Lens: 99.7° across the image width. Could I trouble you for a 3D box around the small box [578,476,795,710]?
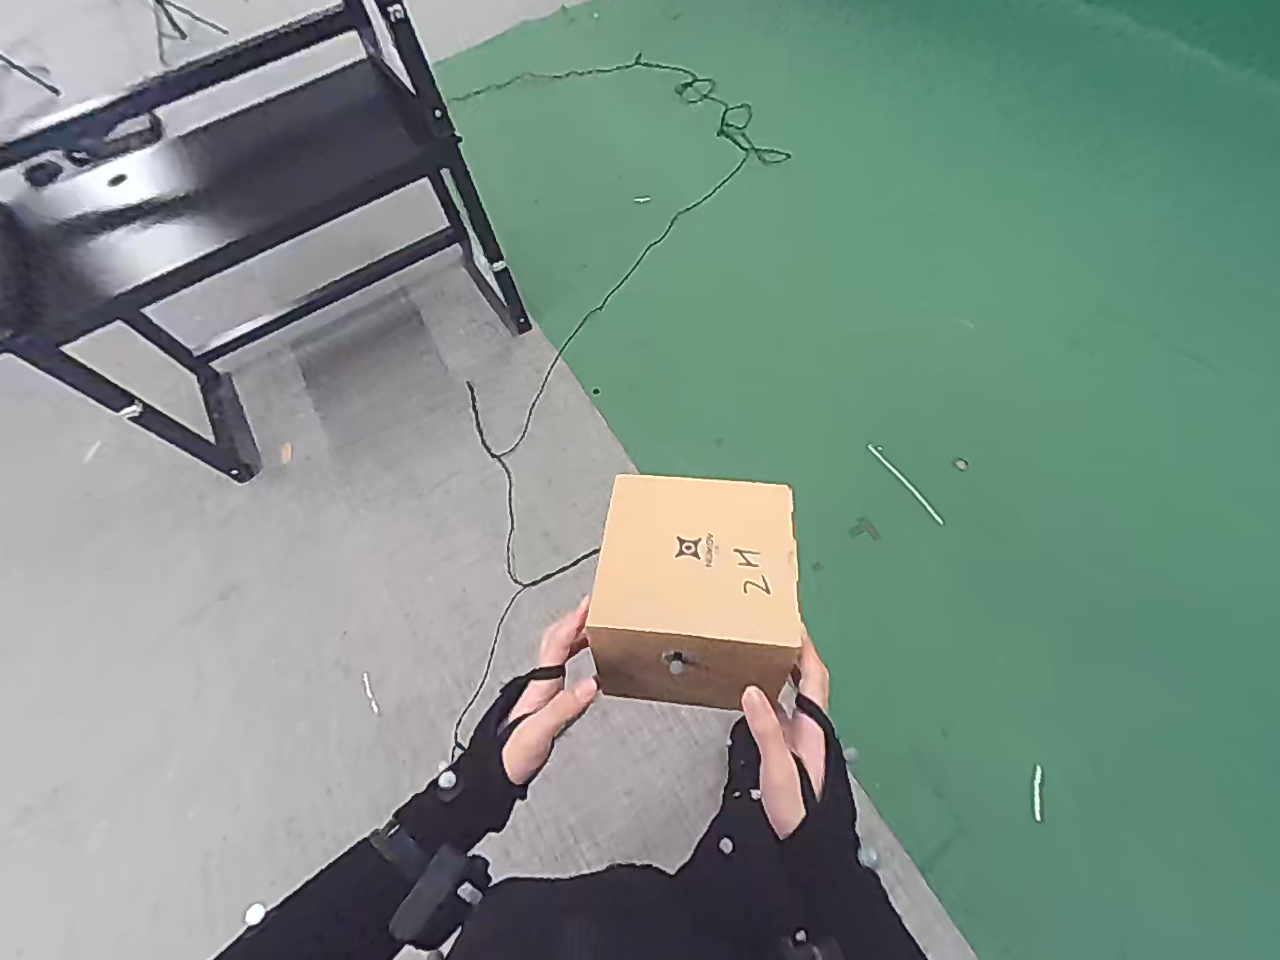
[{"bbox_3d":[0.049,0.114,0.539,0.179,0.176,0.168,4,50,6],"label":"small box"}]
